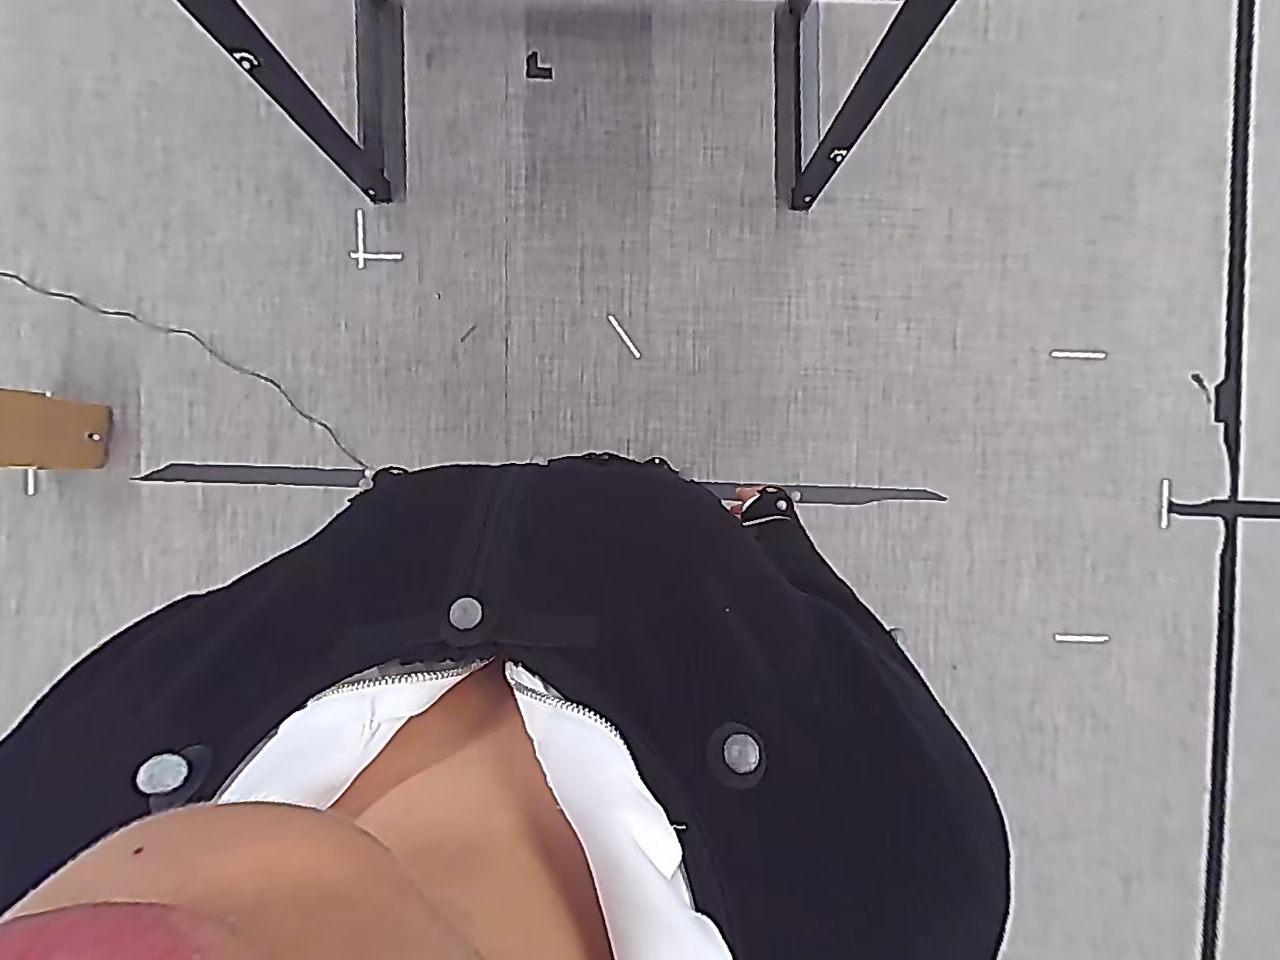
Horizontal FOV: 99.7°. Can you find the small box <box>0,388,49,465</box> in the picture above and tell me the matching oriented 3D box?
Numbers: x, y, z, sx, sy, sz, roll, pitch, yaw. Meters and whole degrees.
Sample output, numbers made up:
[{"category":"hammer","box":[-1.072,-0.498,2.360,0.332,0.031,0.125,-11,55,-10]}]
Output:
[{"category":"small box","box":[-1.489,-0.122,1.207,0.168,0.176,0.179,2,91,-2]}]

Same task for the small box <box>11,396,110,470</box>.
[{"category":"small box","box":[-1.510,-0.123,1.372,0.168,0.176,0.179,8,91,-2]}]
